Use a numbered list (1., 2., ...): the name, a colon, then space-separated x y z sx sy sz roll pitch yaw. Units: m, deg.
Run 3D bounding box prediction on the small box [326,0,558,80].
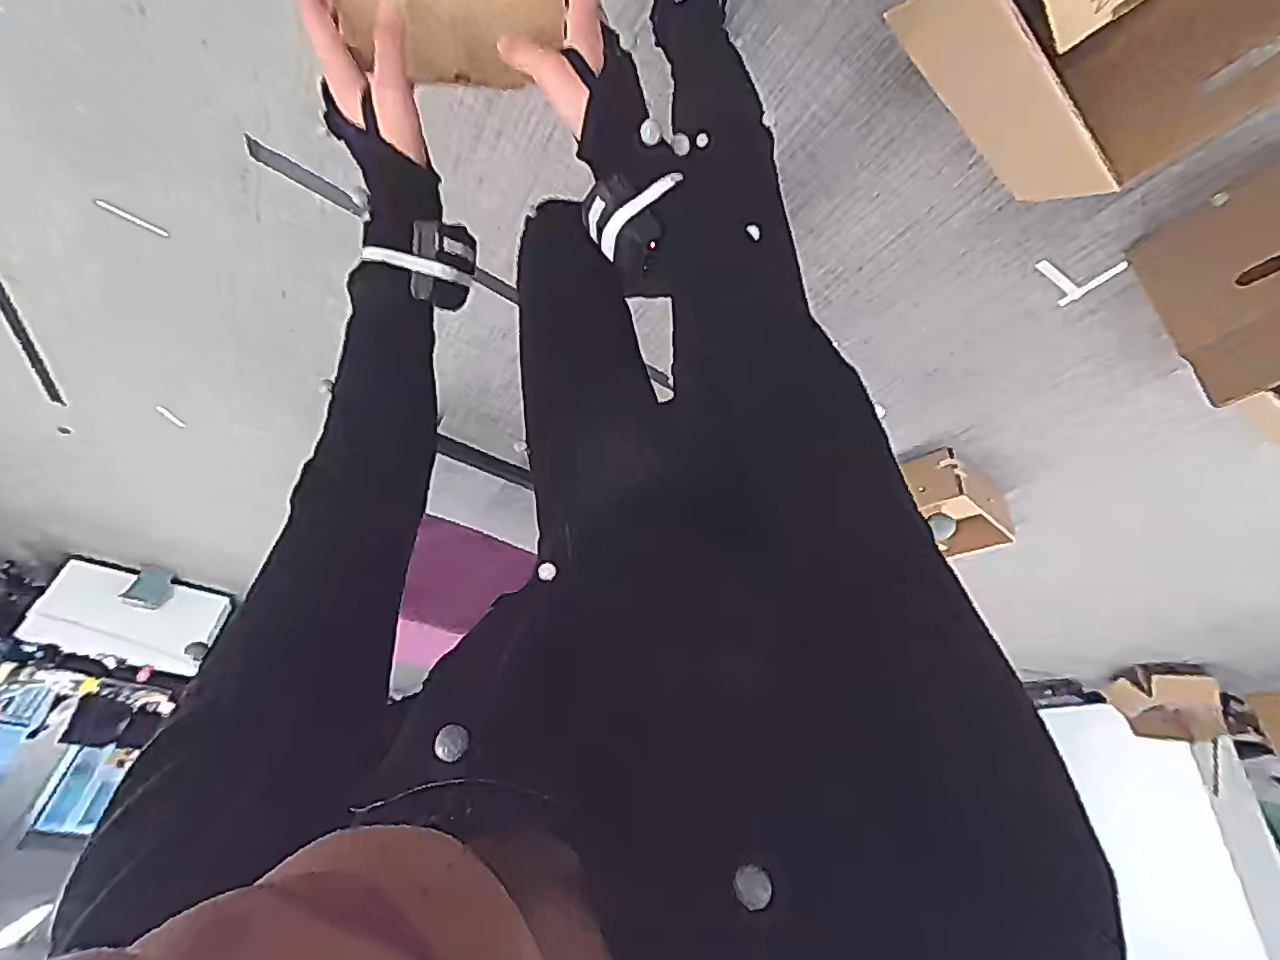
1. small box: -0.144 -0.436 0.388 0.168 0.176 0.179 -3 153 -12
